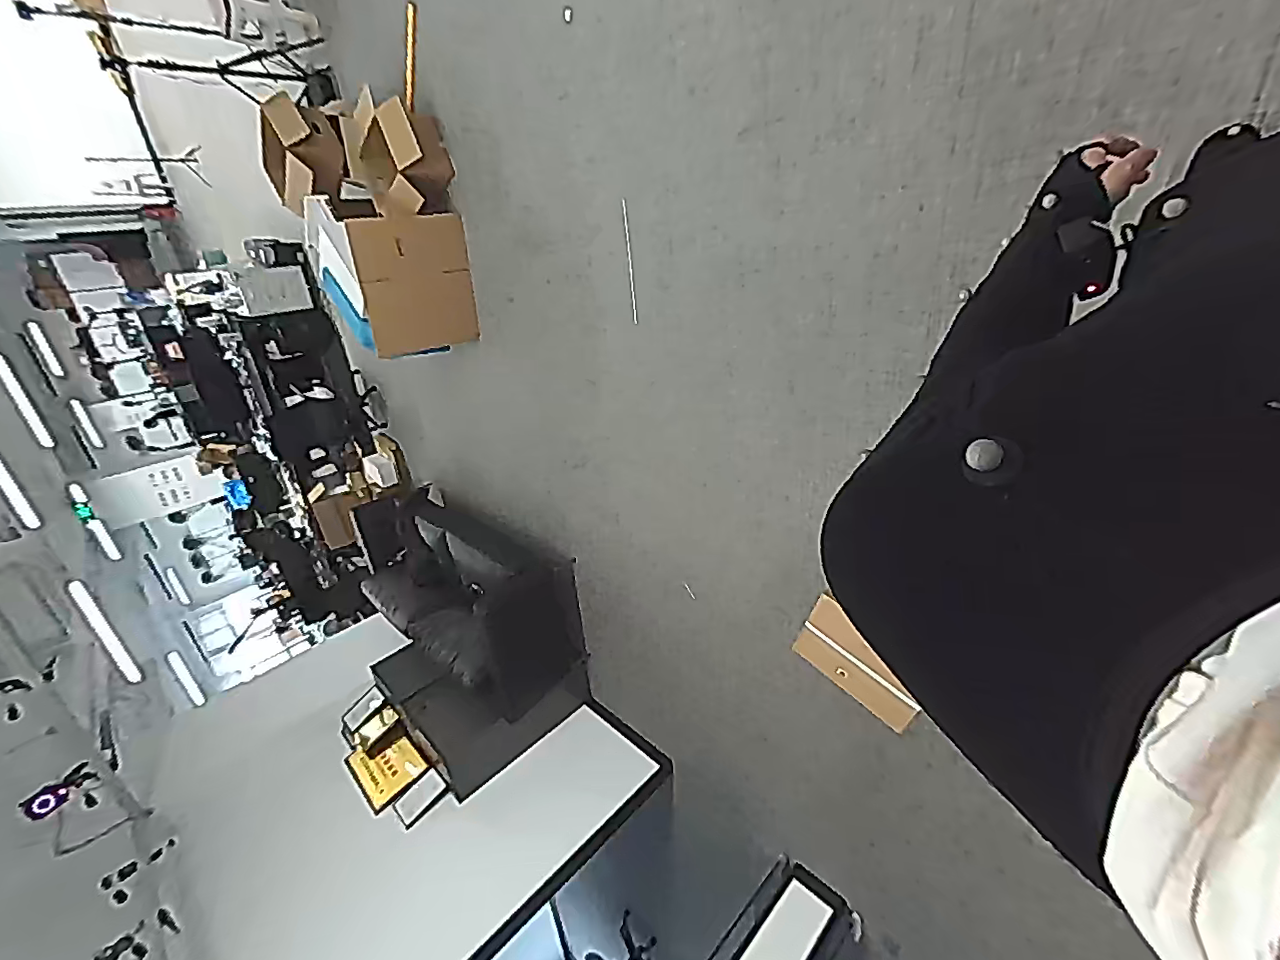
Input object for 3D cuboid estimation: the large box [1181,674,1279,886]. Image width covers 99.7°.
[{"bbox_3d":[1.450,0.614,1.107,0.408,0.320,0.320,-28,90,51],"label":"large box"}]
